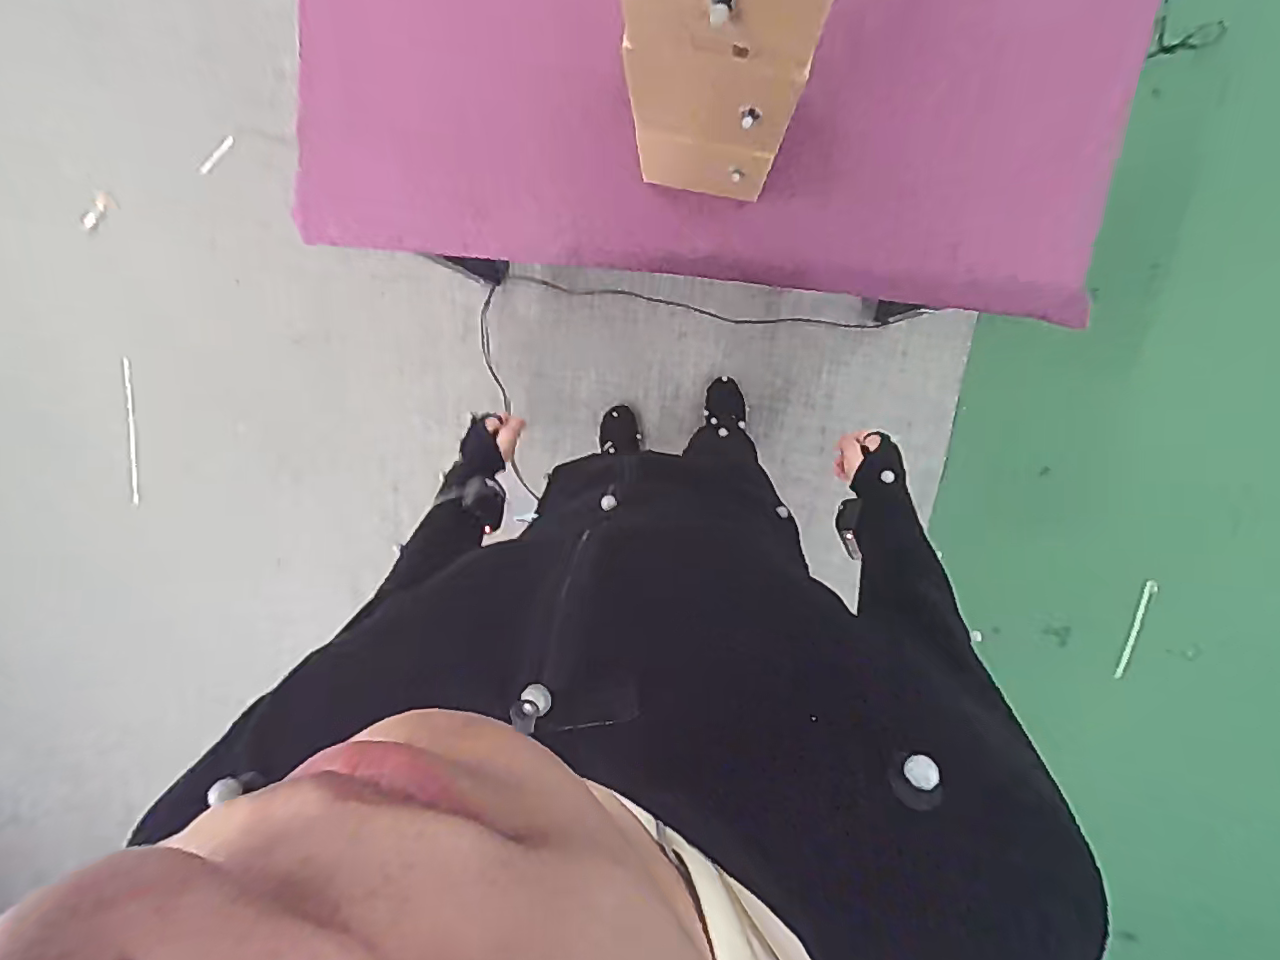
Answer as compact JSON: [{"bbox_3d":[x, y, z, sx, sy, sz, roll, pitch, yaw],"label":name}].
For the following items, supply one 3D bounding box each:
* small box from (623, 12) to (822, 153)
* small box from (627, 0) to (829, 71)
[{"bbox_3d":[0.089,-0.471,0.563,0.179,0.176,0.168,12,100,2],"label":"small box"},{"bbox_3d":[0.079,-0.452,0.402,0.168,0.176,0.179,11,100,2],"label":"small box"}]
